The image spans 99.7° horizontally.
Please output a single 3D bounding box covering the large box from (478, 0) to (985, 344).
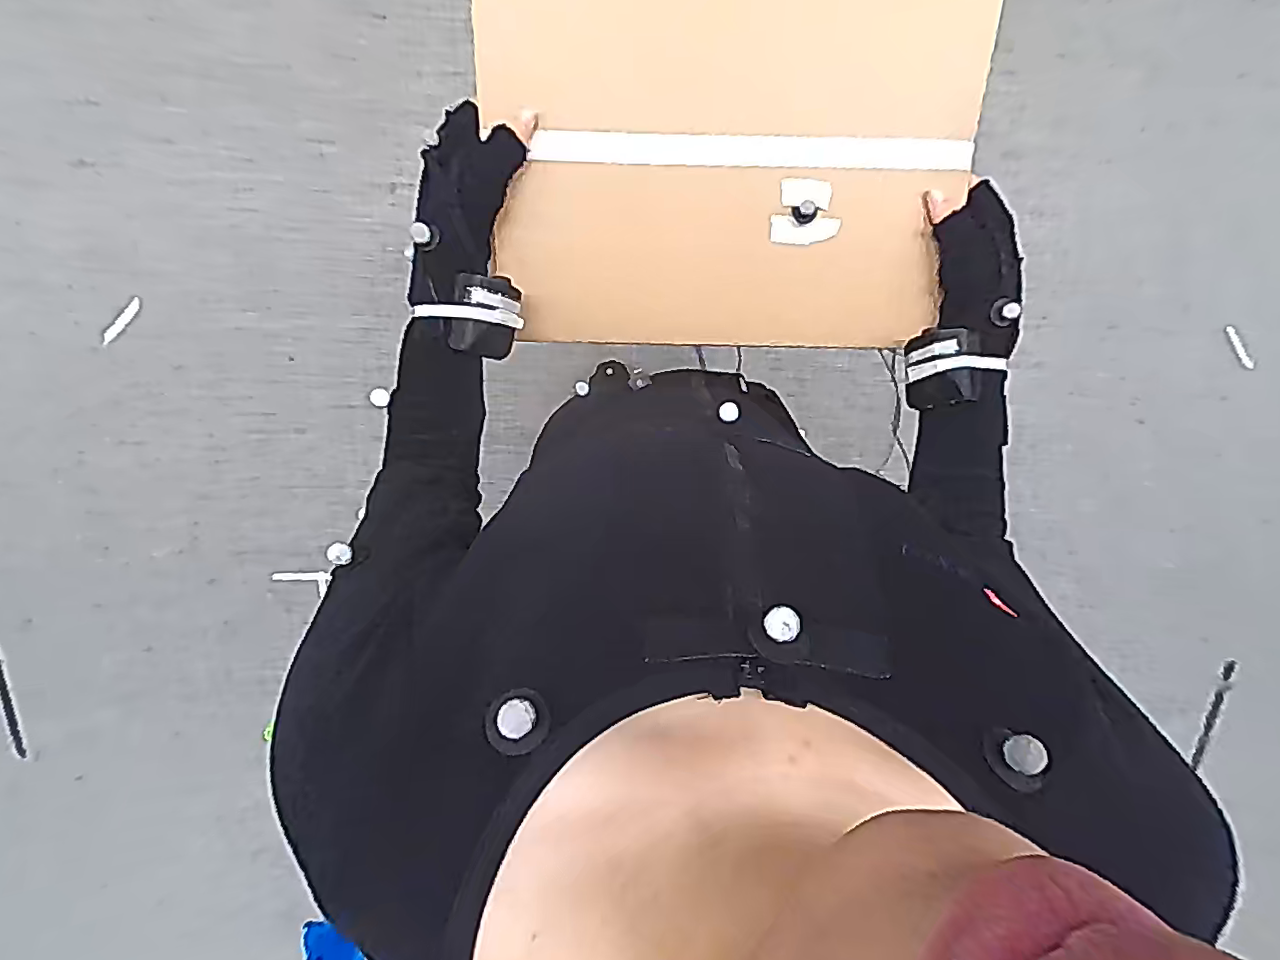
[{"bbox_3d":[0.067,-0.324,0.594,0.408,0.320,0.320,0,110,-2],"label":"large box"}]

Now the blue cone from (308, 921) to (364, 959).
[{"bbox_3d":[-1.047,1.636,1.700,0.192,0.380,0.193,5,103,0],"label":"blue cone"}]
